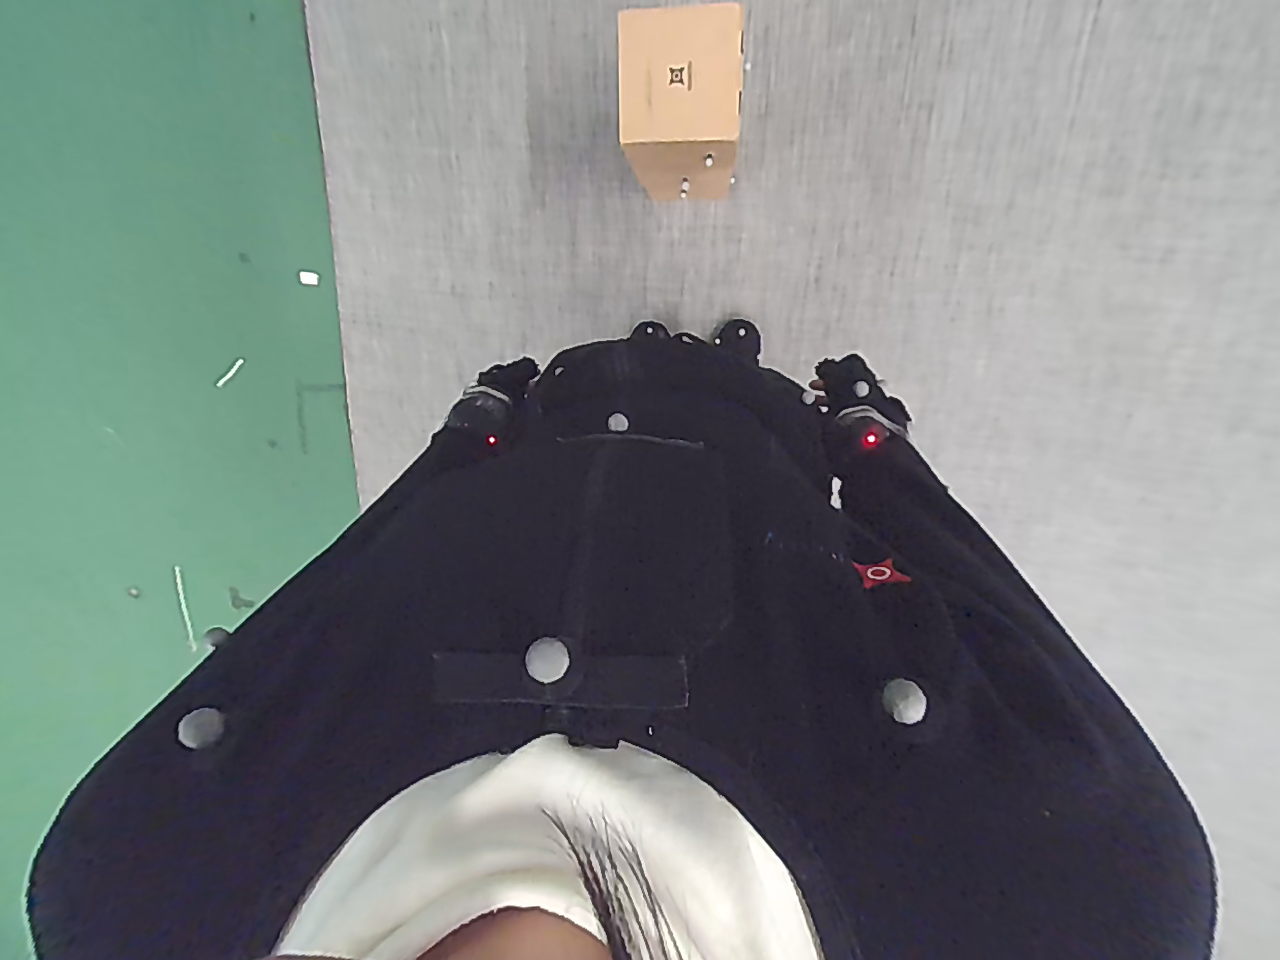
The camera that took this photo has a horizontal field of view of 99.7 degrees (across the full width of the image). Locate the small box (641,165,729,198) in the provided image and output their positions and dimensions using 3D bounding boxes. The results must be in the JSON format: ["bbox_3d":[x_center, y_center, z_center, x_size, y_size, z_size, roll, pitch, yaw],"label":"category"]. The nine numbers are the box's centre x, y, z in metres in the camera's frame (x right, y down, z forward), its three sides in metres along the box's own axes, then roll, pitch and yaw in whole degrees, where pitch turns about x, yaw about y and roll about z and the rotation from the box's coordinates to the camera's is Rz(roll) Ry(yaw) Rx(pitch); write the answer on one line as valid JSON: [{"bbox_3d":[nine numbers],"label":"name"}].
[{"bbox_3d":[0.101,-0.705,1.142,0.179,0.176,0.168,4,107,7],"label":"small box"}]

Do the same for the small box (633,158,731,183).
[{"bbox_3d":[0.078,-0.654,0.989,0.179,0.176,0.168,1,107,7],"label":"small box"}]

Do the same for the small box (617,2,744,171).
[{"bbox_3d":[0.065,-0.593,0.838,0.179,0.176,0.168,2,106,8],"label":"small box"}]
